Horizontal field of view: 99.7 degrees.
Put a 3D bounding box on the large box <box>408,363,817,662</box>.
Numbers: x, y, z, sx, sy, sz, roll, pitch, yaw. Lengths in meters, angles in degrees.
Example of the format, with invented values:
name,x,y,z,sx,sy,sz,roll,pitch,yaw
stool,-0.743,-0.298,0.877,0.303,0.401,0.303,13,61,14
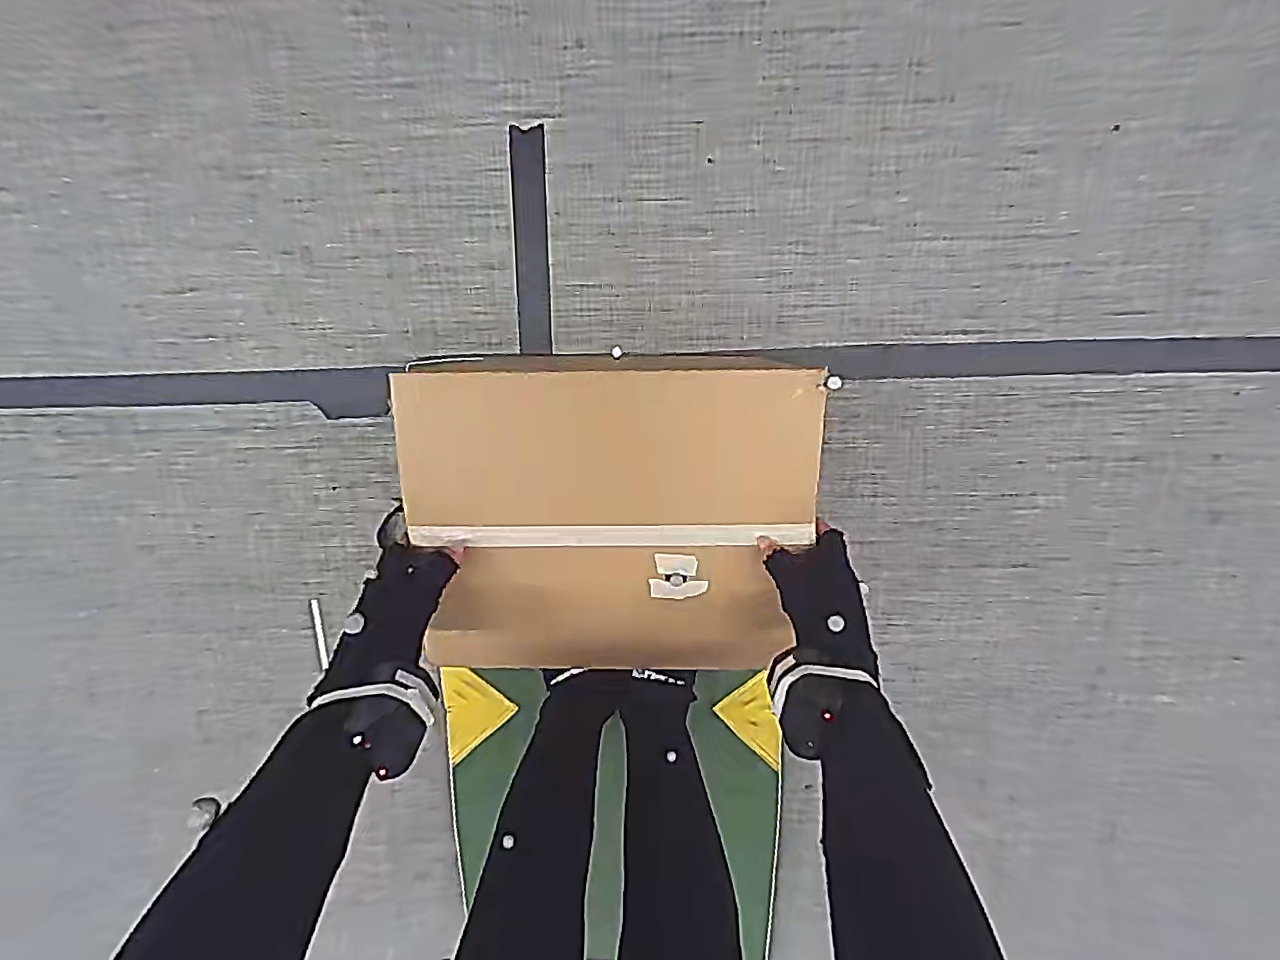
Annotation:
name,x,y,z,sx,sy,sz,roll,pitch,yaw
large box,-0.024,0.012,0.700,0.408,0.320,0.320,0,105,1
